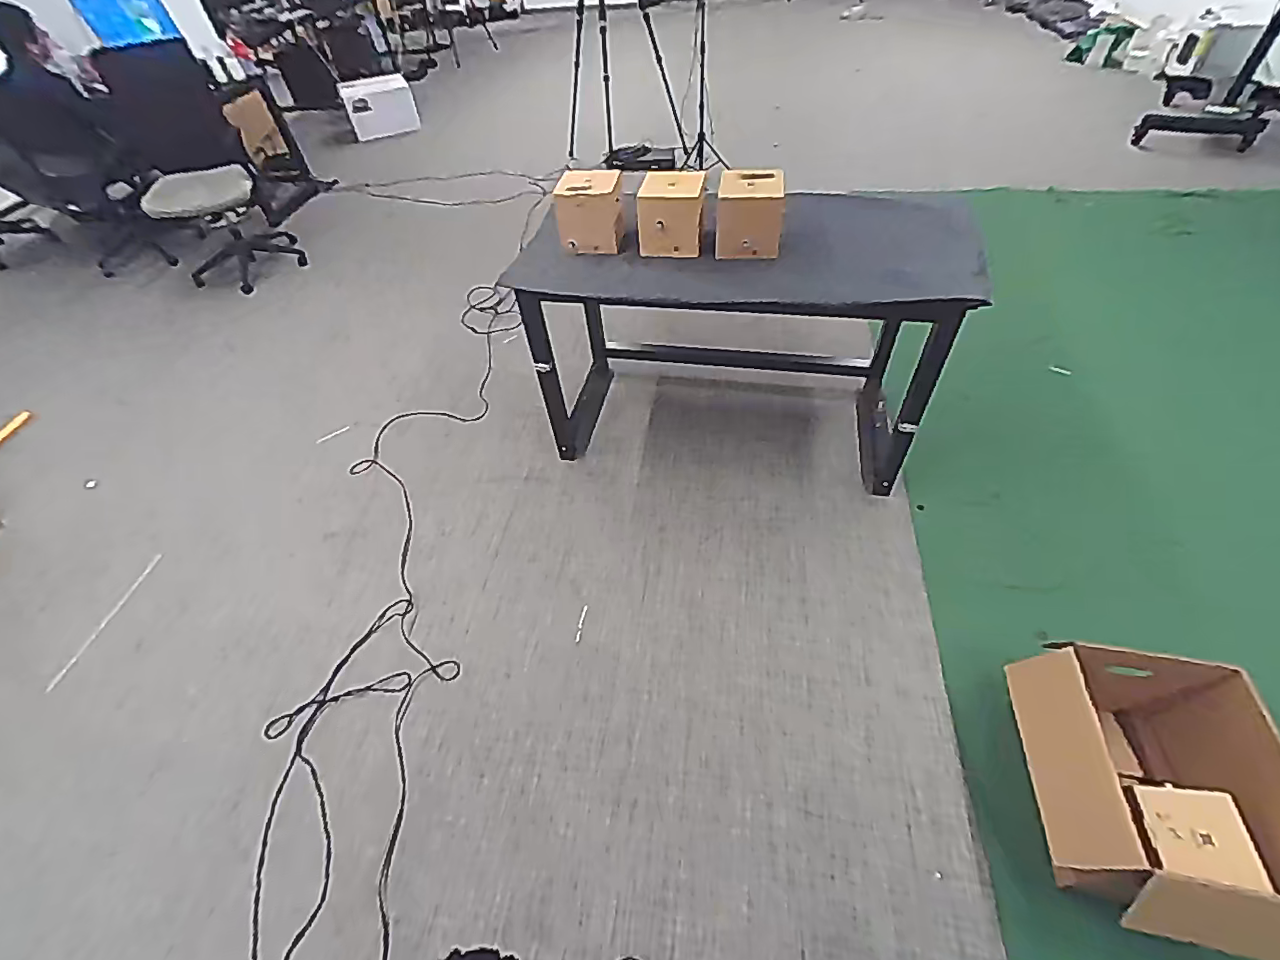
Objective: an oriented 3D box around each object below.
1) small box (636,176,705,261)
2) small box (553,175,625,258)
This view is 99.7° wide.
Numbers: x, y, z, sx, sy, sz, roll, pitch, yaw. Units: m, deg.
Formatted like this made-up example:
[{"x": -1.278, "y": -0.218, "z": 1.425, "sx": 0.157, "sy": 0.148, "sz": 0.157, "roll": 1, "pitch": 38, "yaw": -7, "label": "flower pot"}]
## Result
[{"x": 0.092, "y": -0.732, "z": 1.520, "sx": 0.168, "sy": 0.176, "sz": 0.179, "roll": 5, "pitch": 49, "yaw": 10, "label": "small box"}, {"x": -0.139, "y": -0.759, "z": 1.564, "sx": 0.168, "sy": 0.176, "sz": 0.179, "roll": 3, "pitch": 48, "yaw": 8, "label": "small box"}]
